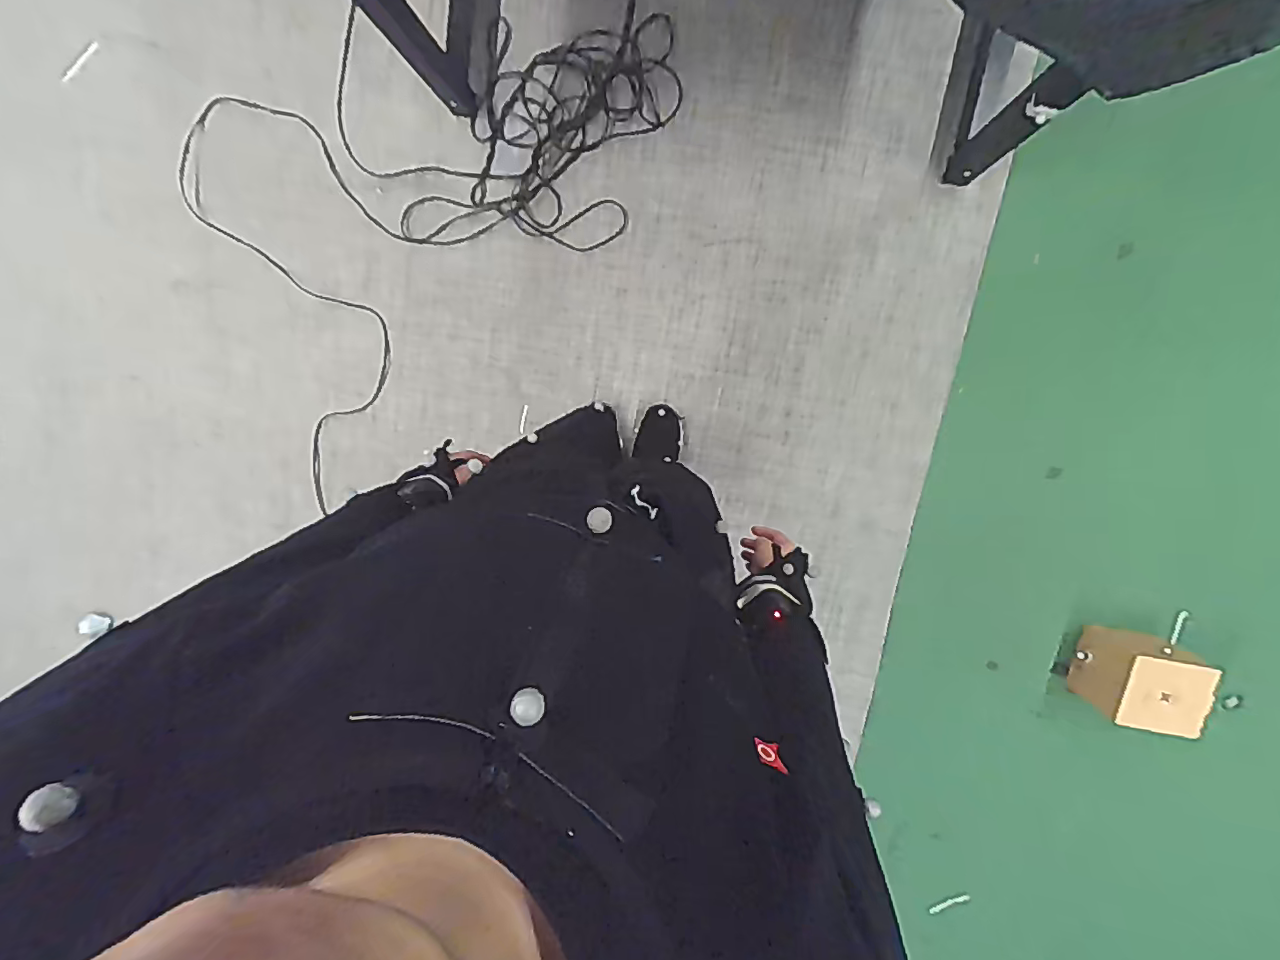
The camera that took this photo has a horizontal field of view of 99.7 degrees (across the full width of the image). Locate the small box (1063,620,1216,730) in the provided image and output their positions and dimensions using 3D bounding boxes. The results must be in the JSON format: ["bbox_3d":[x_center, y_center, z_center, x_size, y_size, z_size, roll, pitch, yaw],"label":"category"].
[{"bbox_3d":[1.141,0.441,1.250,0.179,0.176,0.168,10,100,4],"label":"small box"}]
